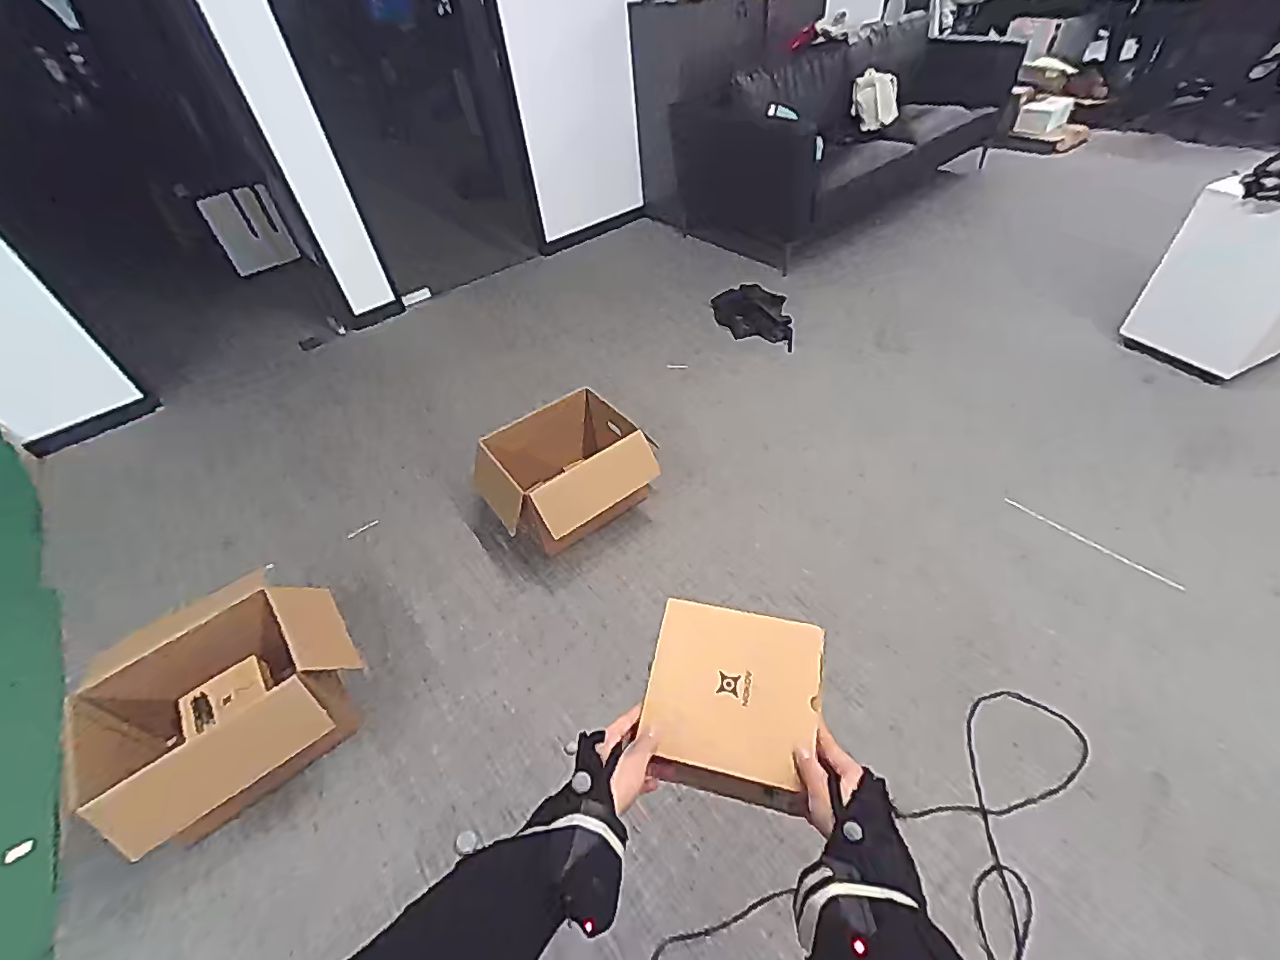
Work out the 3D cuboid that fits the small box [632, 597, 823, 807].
[{"bbox_3d":[0.101,0.256,0.618,0.179,0.176,0.168,8,55,12],"label":"small box"}]
